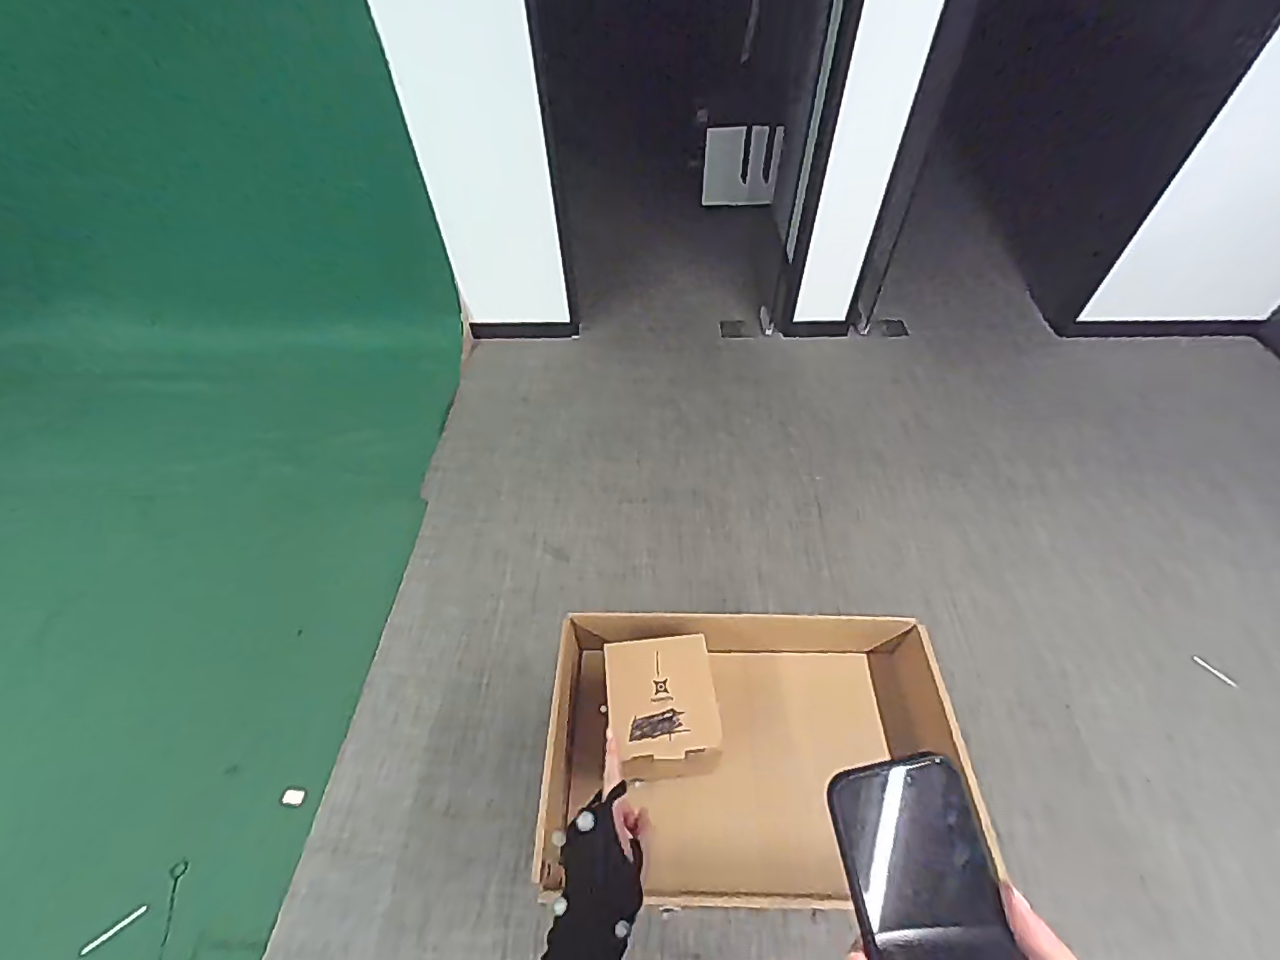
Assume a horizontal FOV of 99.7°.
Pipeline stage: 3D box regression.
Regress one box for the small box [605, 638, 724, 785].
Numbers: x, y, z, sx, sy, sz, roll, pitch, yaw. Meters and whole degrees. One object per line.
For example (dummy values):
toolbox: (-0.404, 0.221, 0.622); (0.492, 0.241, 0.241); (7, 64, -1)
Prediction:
small box: (0.035, 0.381, 0.878); (0.168, 0.176, 0.179); (-6, 49, -3)
